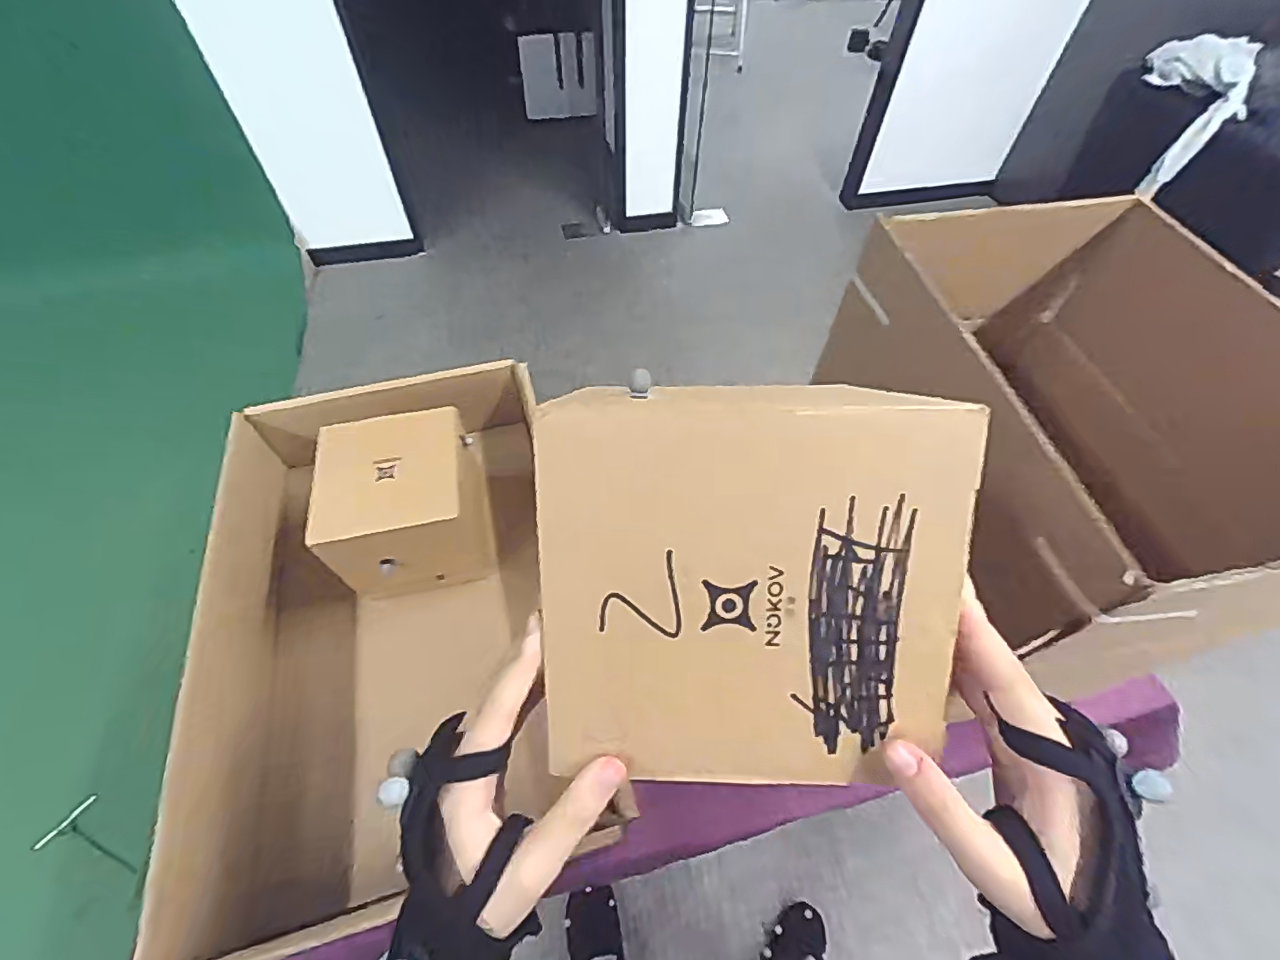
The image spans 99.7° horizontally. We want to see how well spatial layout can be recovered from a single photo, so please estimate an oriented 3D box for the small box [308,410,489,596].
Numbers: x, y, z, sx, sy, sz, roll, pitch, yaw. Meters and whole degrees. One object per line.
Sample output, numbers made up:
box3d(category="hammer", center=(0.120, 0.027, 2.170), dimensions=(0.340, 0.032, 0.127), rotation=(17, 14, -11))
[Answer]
box3d(category="small box", center=(-0.303, 0.038, 0.713), dimensions=(0.168, 0.176, 0.179), rotation=(-11, 56, -7))
